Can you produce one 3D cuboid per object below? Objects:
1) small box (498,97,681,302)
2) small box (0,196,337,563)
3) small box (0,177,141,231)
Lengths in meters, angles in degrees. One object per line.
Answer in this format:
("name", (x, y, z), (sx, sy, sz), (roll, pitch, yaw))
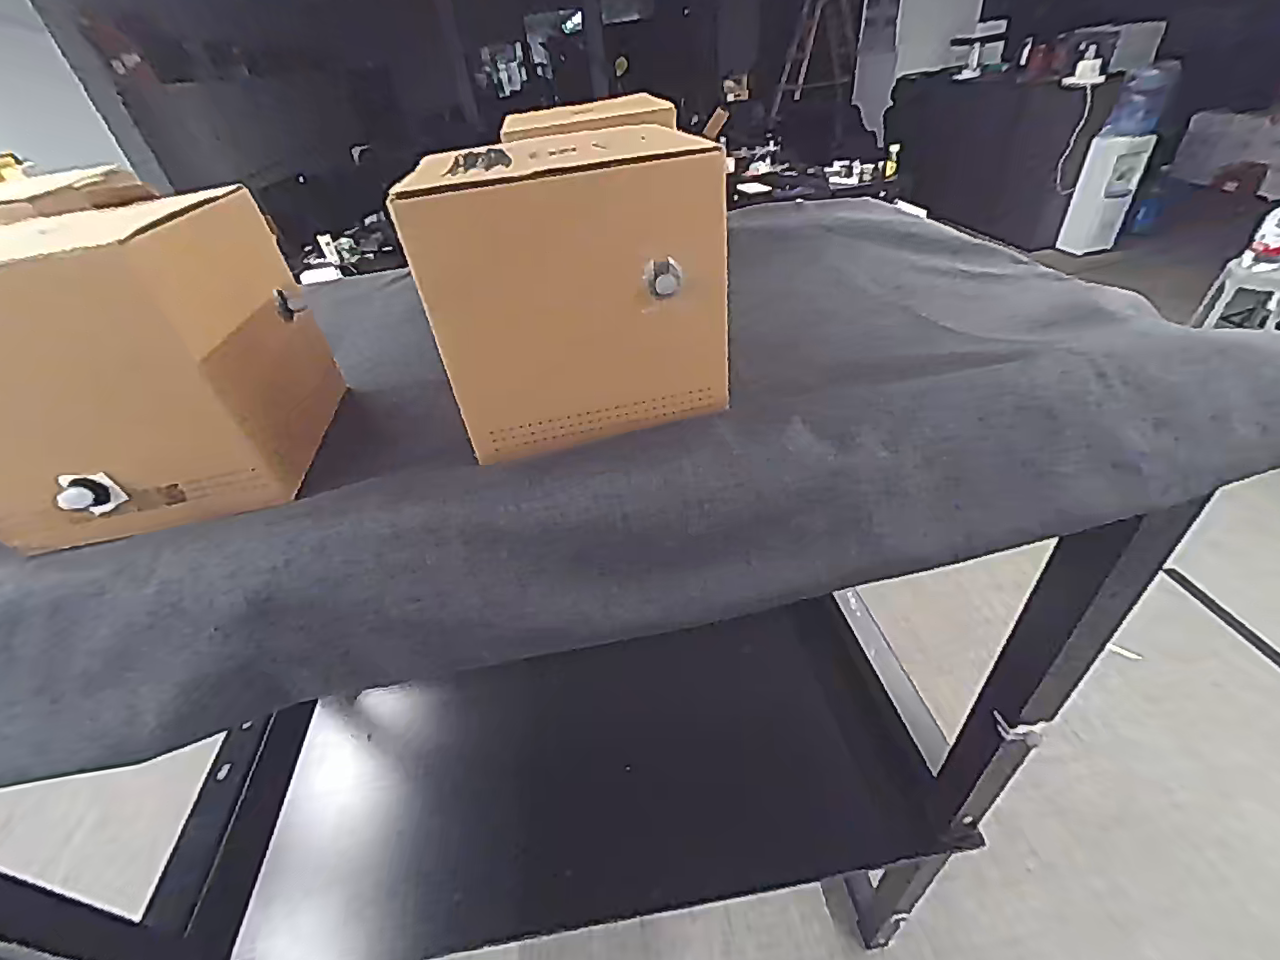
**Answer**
("small box", (-0.053, -0.313, 0.611), (0.168, 0.176, 0.179), (-11, 39, -3))
("small box", (-0.334, -0.074, 0.362), (0.168, 0.176, 0.179), (-14, 38, -5))
("small box", (-0.619, -0.204, 0.574), (0.179, 0.176, 0.168), (-11, 39, -5))
